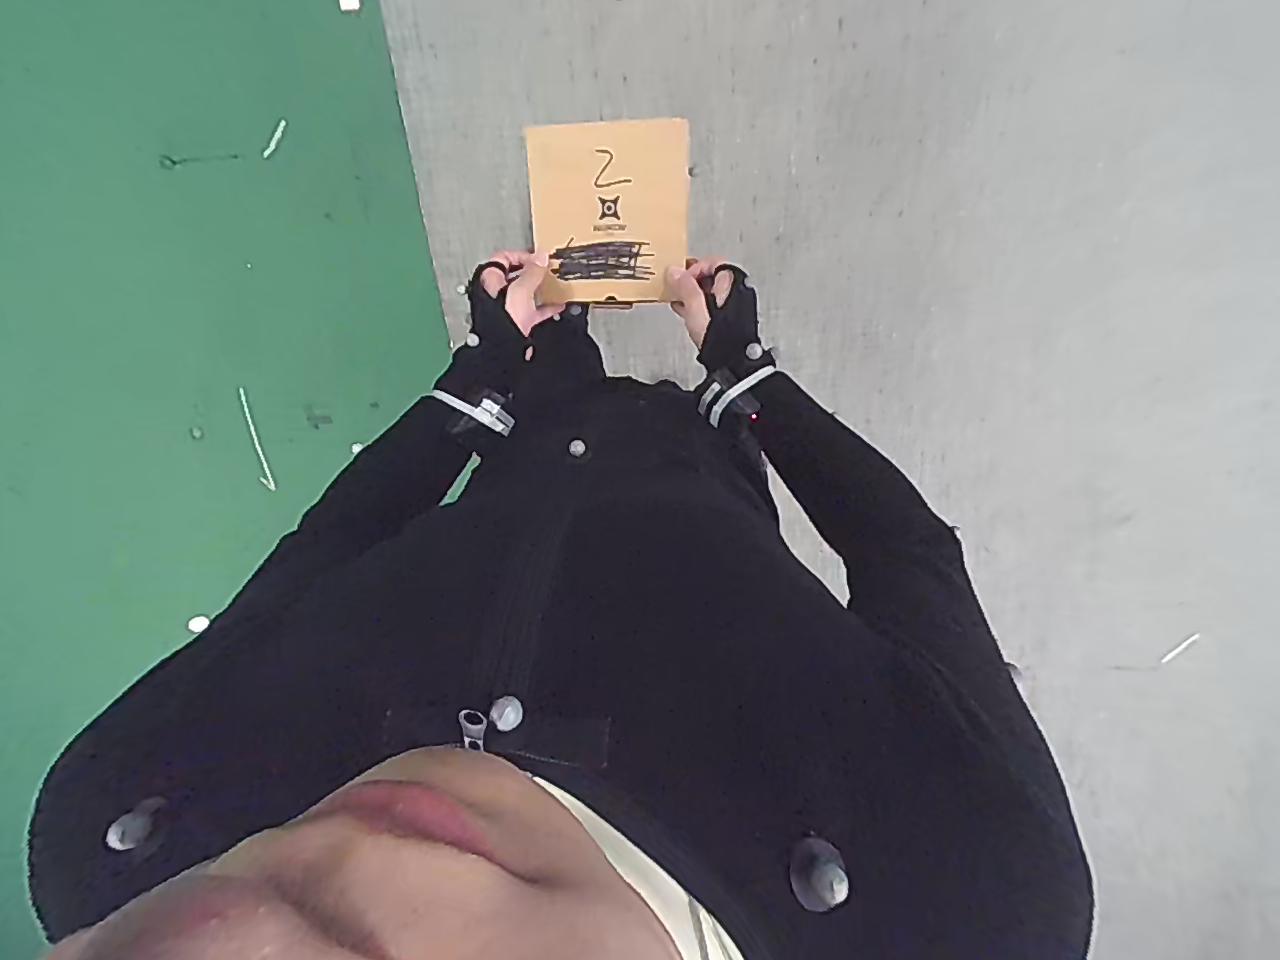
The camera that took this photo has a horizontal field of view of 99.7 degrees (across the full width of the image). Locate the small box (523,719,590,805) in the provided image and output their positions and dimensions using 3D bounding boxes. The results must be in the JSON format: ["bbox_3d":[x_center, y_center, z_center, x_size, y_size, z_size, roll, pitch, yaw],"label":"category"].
[{"bbox_3d":[-0.248,0.853,1.650,0.179,0.176,0.168,-4,107,1],"label":"small box"}]
